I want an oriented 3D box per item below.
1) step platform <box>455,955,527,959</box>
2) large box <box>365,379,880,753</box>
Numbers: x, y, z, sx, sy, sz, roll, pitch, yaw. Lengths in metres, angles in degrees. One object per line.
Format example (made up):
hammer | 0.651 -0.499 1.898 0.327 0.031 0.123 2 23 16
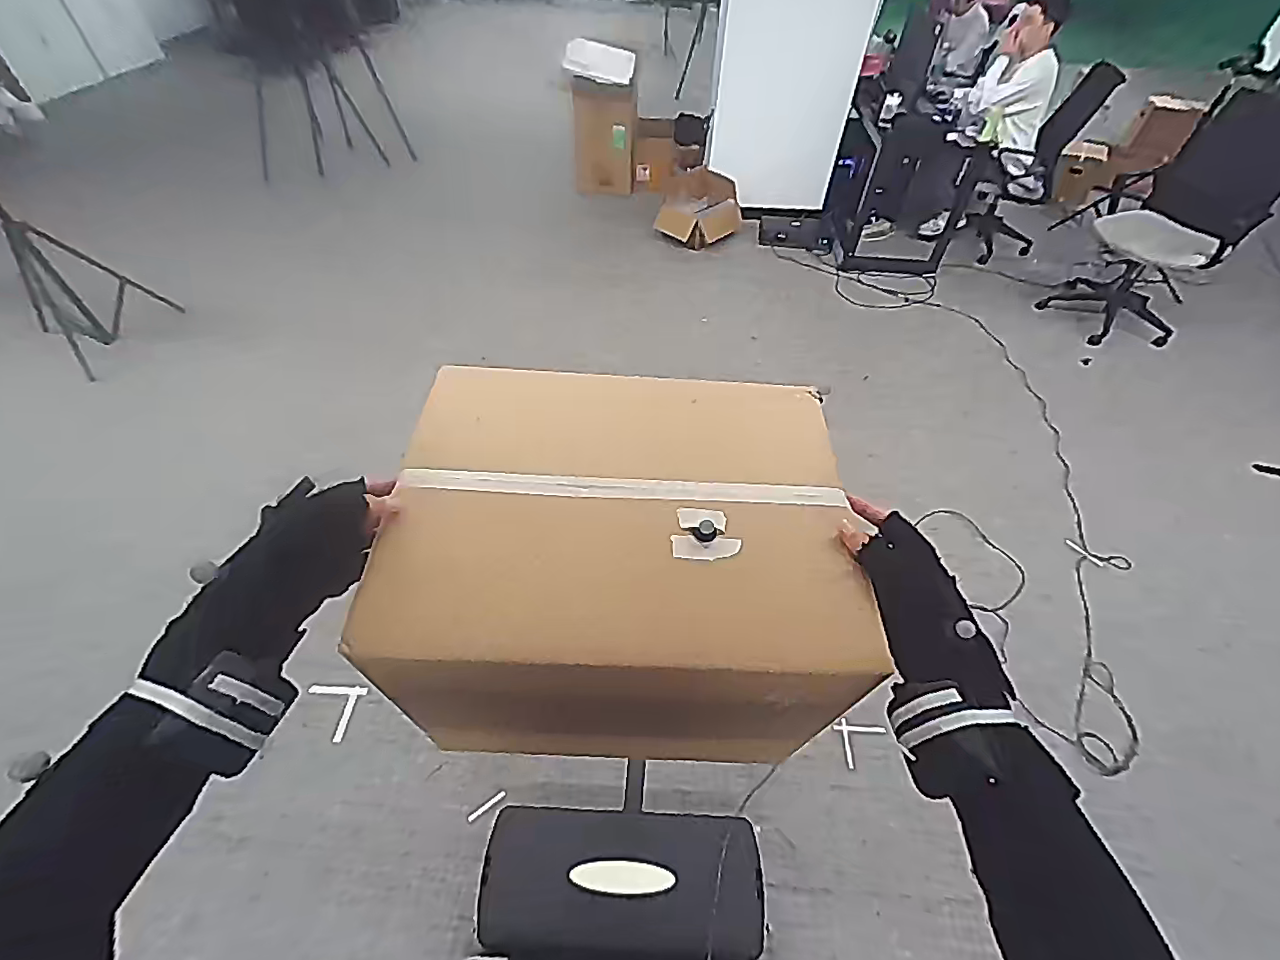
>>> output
step platform | -0.089 1.156 1.082 0.684 0.204 0.286 2 49 1
large box | -0.020 0.110 0.617 0.408 0.320 0.320 3 52 -3
